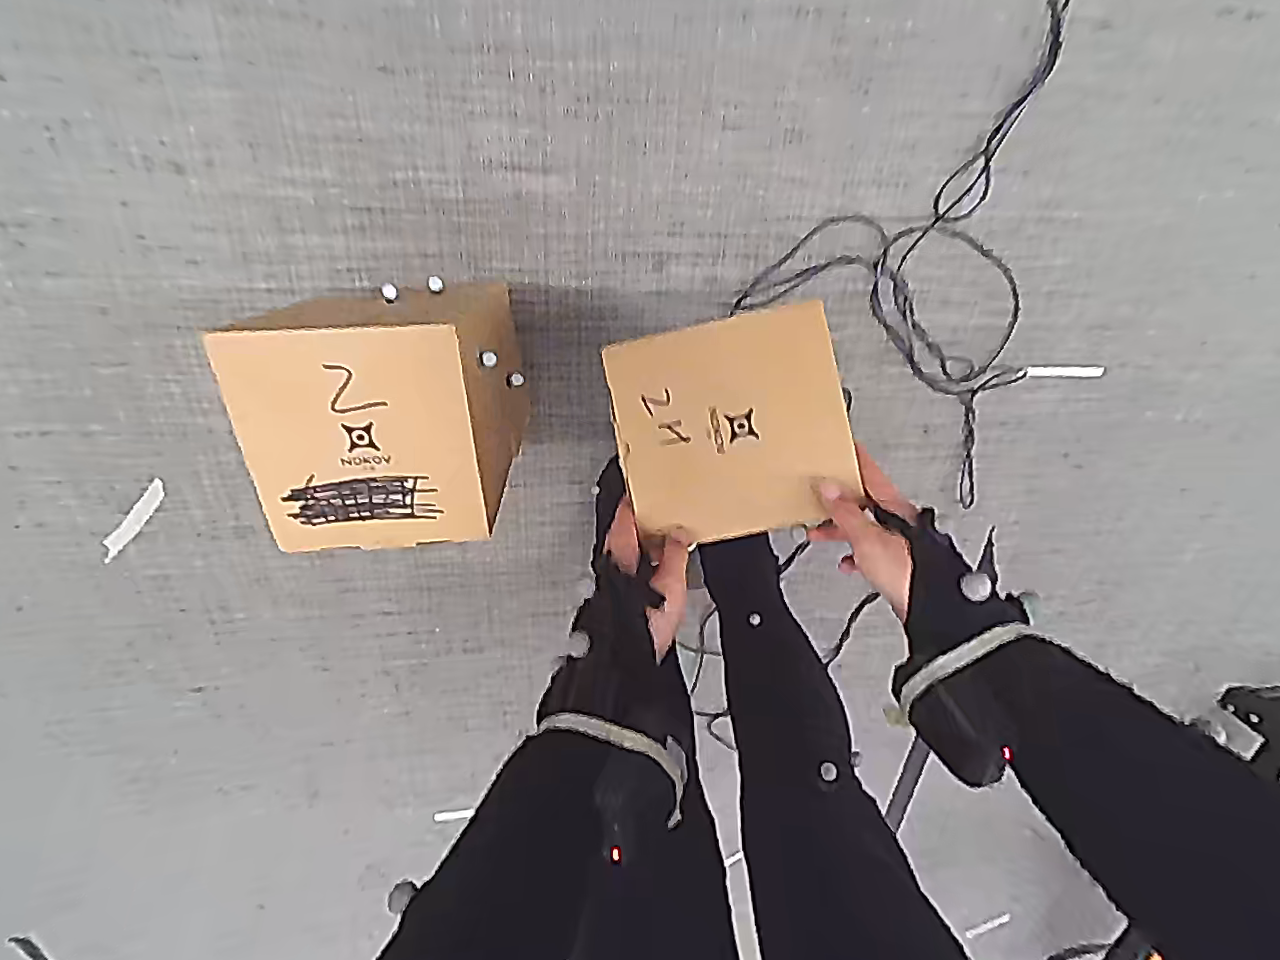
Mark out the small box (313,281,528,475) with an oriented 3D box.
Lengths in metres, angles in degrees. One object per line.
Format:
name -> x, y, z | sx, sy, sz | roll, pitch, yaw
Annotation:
small box -> -0.228, -0.126, 0.616 | 0.168, 0.176, 0.179 | -8, 116, -3

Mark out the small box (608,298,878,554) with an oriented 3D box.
small box -> 0.082, -0.037, 0.479 | 0.179, 0.176, 0.168 | -11, 86, 6
